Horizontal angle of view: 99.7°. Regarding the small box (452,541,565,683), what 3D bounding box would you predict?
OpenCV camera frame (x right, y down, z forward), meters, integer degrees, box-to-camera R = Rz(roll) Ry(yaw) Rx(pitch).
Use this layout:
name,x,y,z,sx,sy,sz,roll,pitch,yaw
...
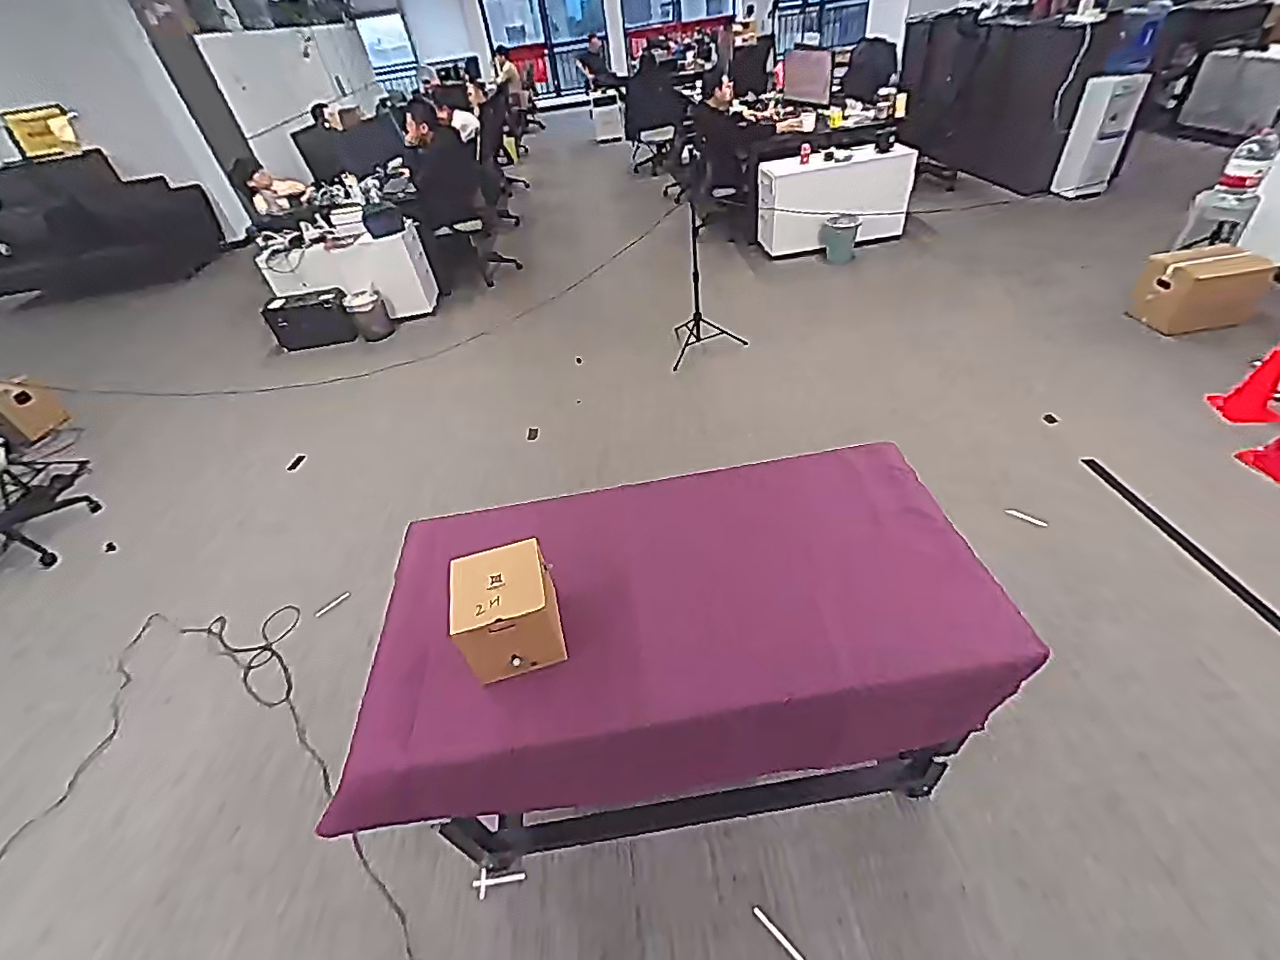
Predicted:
name,x,y,z,sx,sy,sz,roll,pitch,yaw
small box,-0.246,0.249,1.024,0.168,0.176,0.179,-15,42,-6
